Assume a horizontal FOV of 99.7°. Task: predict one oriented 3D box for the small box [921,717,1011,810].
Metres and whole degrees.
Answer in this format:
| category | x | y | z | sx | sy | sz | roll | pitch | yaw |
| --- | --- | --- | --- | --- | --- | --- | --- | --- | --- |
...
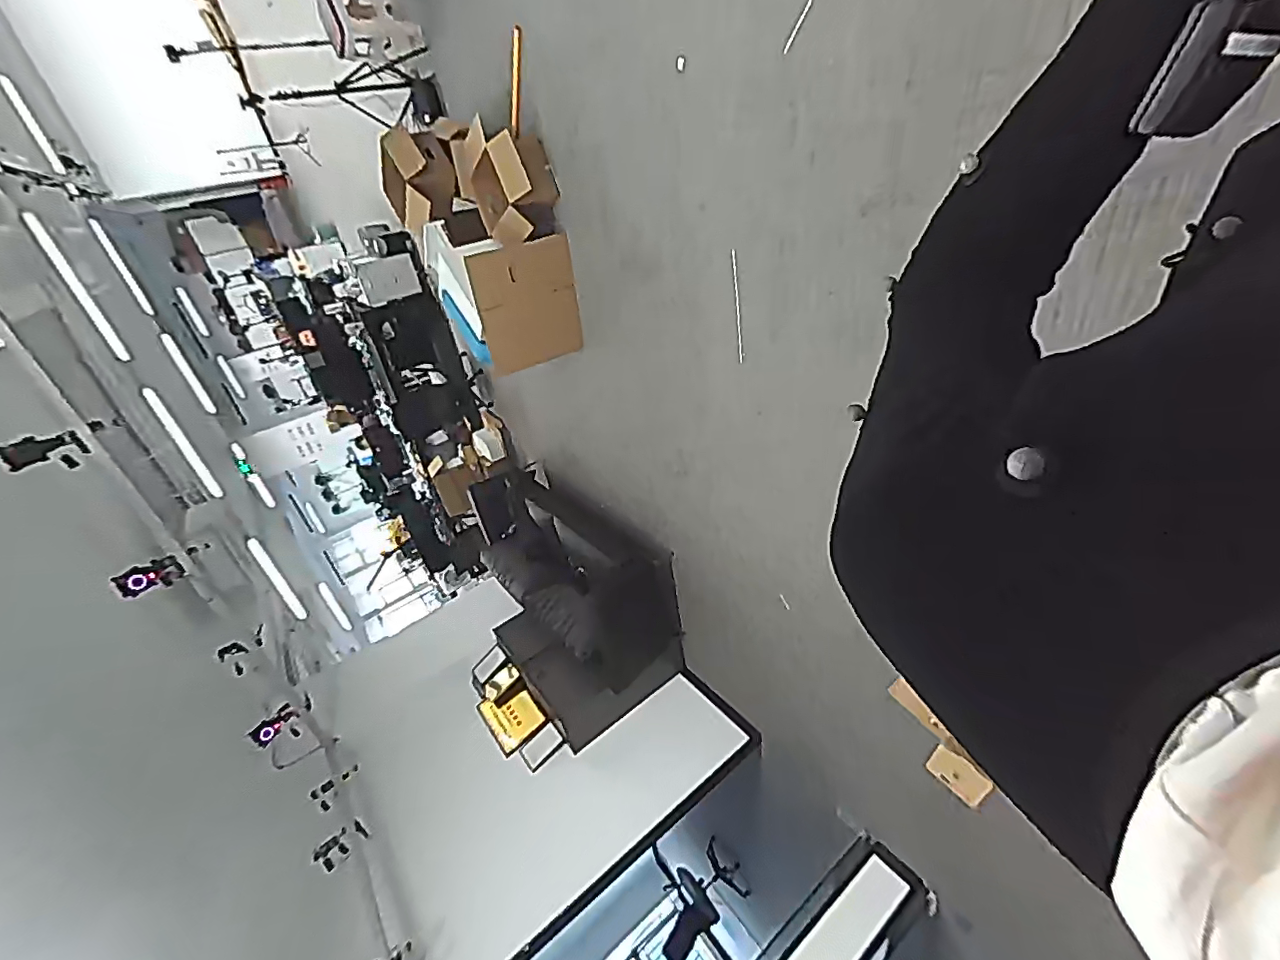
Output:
| category | x | y | z | sx | sy | sz | roll | pitch | yaw |
| --- | --- | --- | --- | --- | --- | --- | --- | --- | --- |
| small box | 1.049 | 0.904 | 1.736 | 0.168 | 0.176 | 0.179 | 39 | 144 | 38 |
